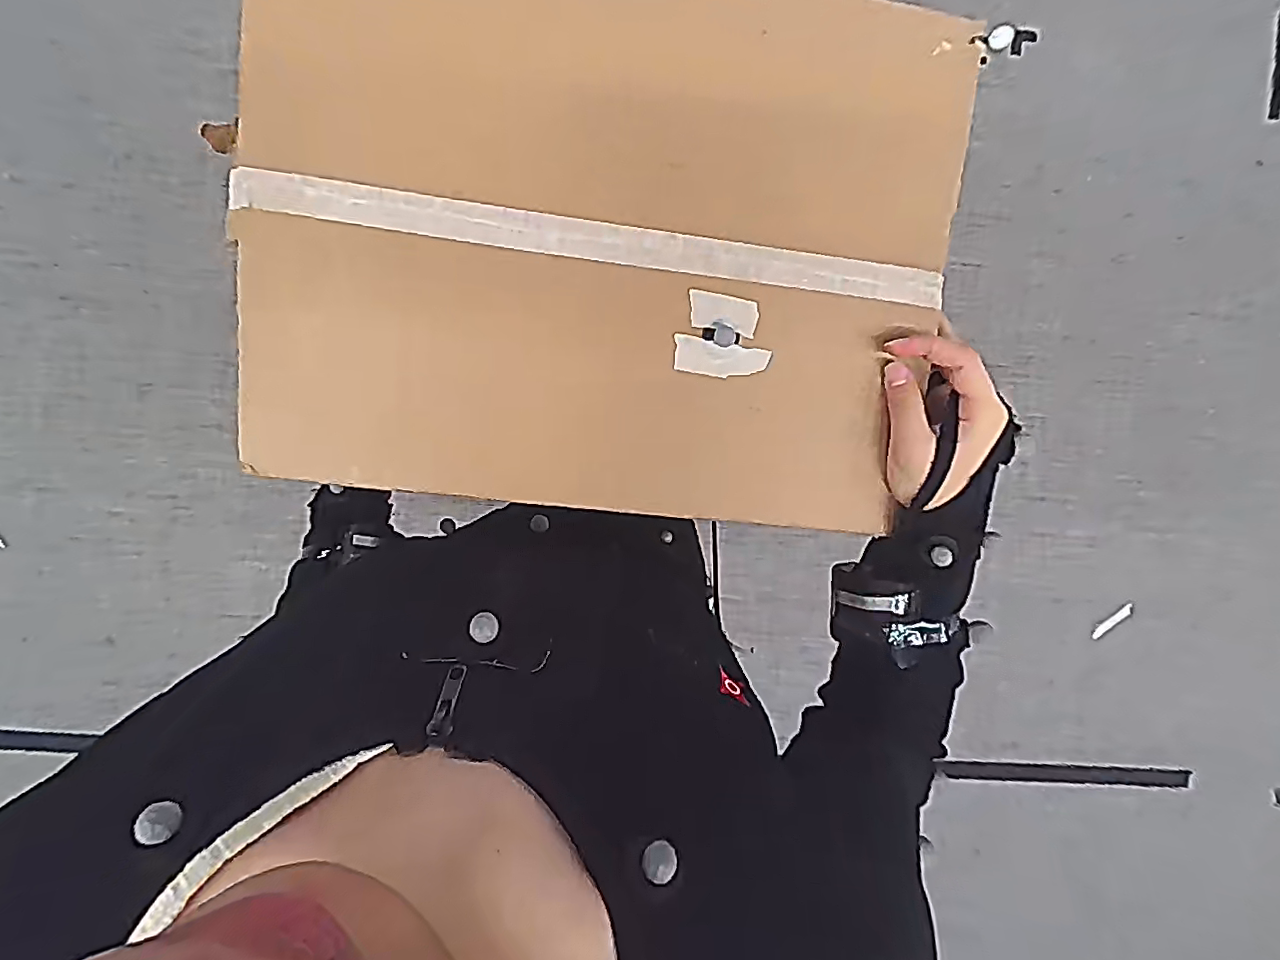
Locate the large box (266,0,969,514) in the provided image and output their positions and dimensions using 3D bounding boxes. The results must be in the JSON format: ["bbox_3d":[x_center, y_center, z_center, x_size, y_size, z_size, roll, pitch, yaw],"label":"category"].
[{"bbox_3d":[-0.027,-0.163,0.469,0.408,0.320,0.320,6,98,-8],"label":"large box"}]
